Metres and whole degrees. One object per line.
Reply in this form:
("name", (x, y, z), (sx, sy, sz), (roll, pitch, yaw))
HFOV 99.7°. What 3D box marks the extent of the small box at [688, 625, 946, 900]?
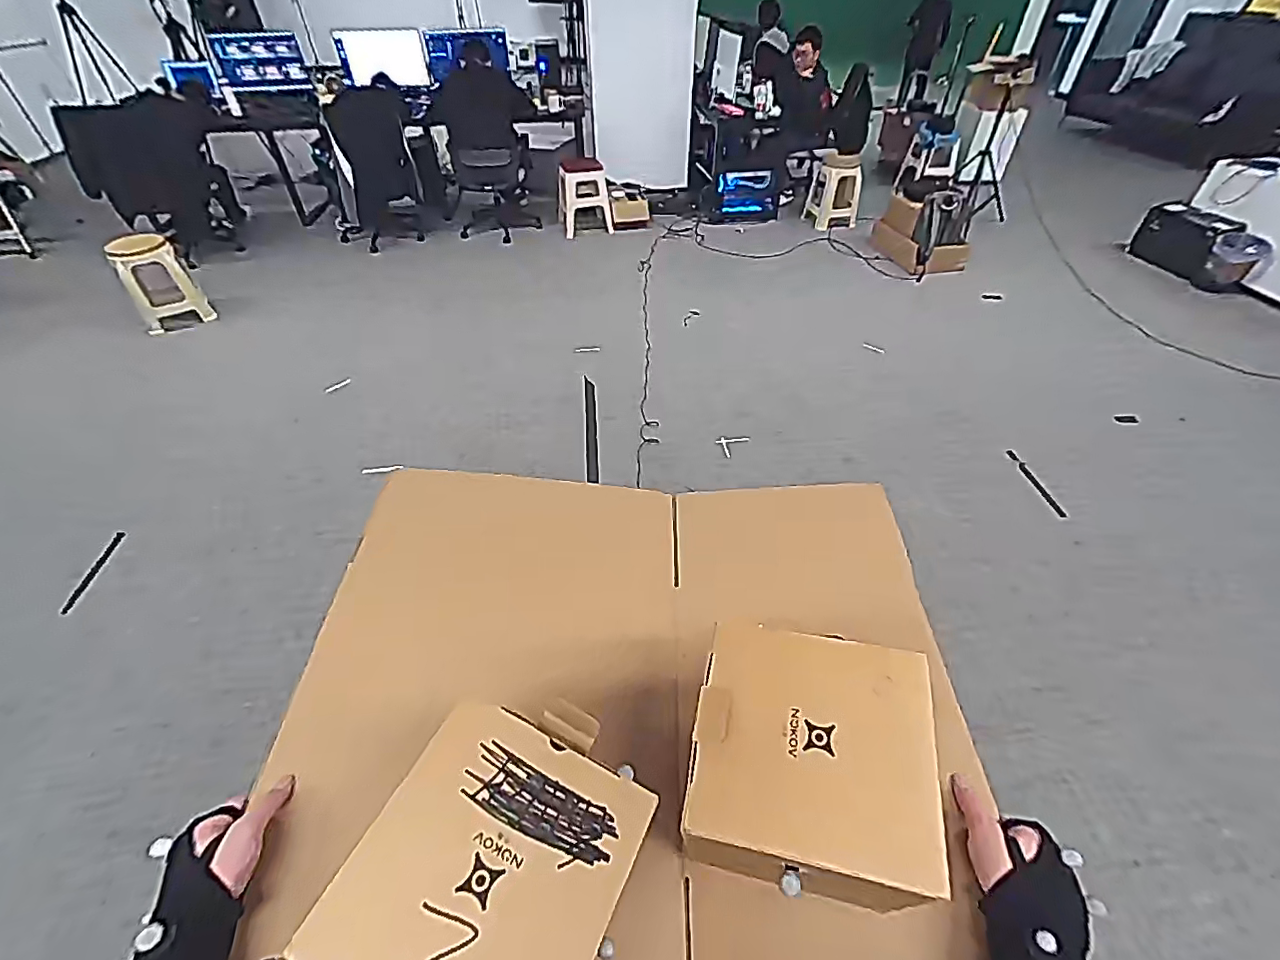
("small box", (0.147, 0.253, 0.483), (0.179, 0.176, 0.168), (5, 51, 15))
